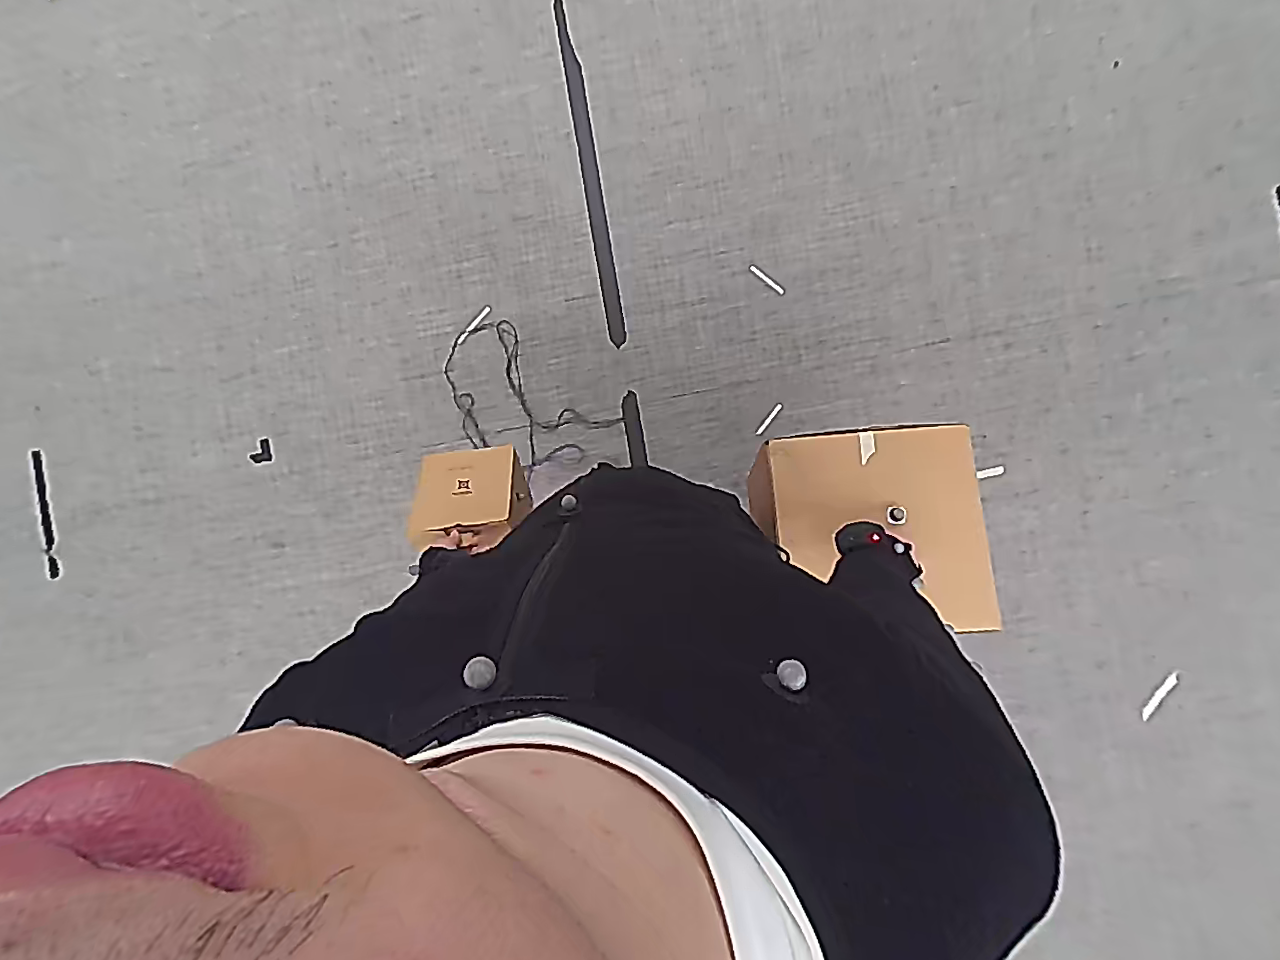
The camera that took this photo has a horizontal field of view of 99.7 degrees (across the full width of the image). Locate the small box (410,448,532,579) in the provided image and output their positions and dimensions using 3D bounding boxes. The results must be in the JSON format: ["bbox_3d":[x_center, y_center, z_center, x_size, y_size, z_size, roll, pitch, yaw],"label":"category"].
[{"bbox_3d":[-0.298,0.068,0.993,0.168,0.176,0.179,-6,47,-2],"label":"small box"}]
